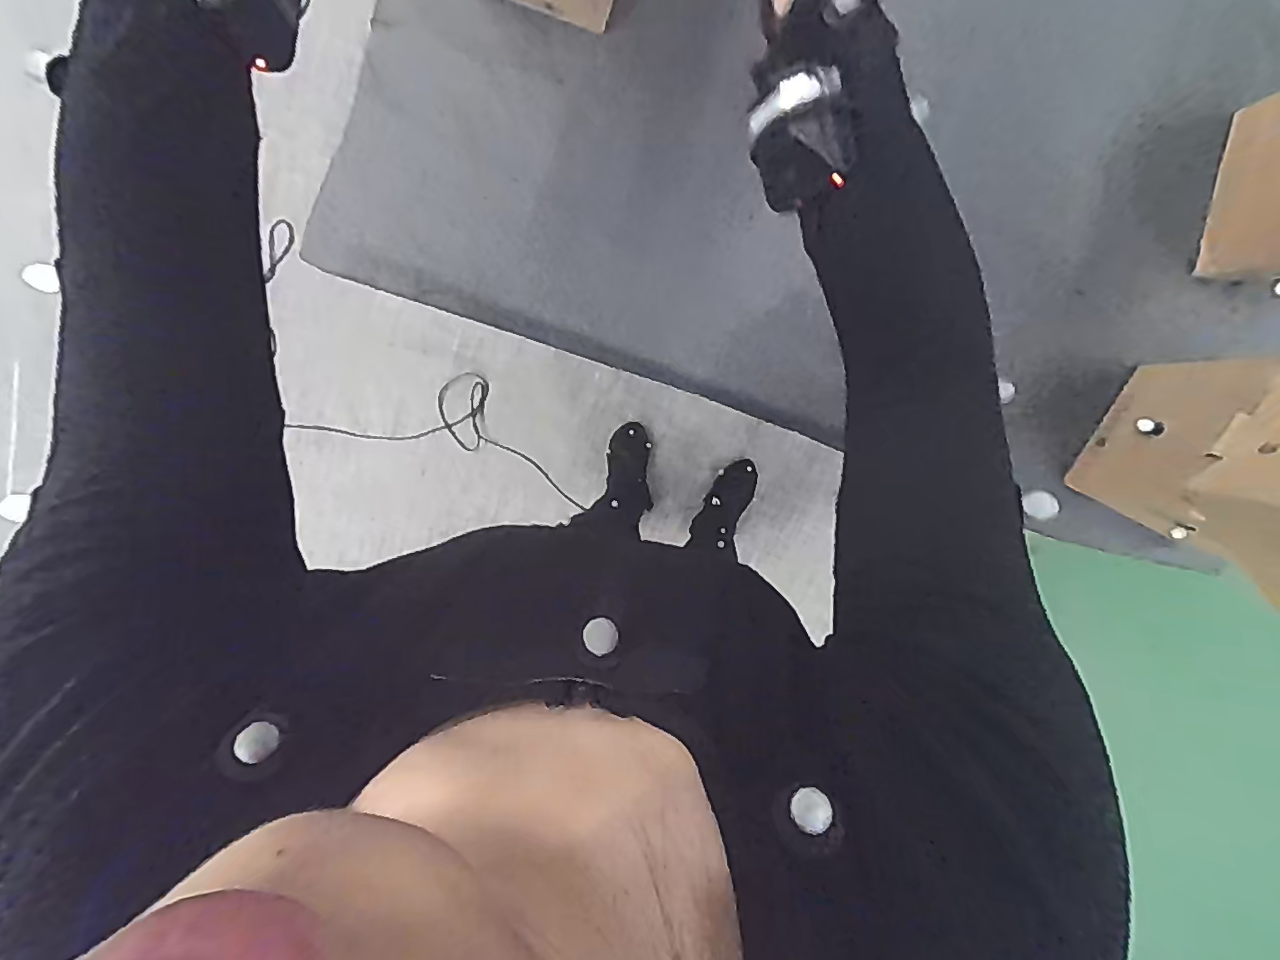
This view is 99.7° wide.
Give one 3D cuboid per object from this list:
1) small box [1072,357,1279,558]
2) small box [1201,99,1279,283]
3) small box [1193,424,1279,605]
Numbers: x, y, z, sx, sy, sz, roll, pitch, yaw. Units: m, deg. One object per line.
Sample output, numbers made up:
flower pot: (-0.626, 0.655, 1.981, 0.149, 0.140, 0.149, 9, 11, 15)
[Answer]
small box: (0.636, -0.016, 0.586, 0.179, 0.176, 0.168, 27, 100, -1)
small box: (0.715, -0.292, 0.521, 0.168, 0.176, 0.179, 4, 105, 6)
small box: (0.623, 0.030, 0.429, 0.168, 0.176, 0.179, -42, 96, 9)
